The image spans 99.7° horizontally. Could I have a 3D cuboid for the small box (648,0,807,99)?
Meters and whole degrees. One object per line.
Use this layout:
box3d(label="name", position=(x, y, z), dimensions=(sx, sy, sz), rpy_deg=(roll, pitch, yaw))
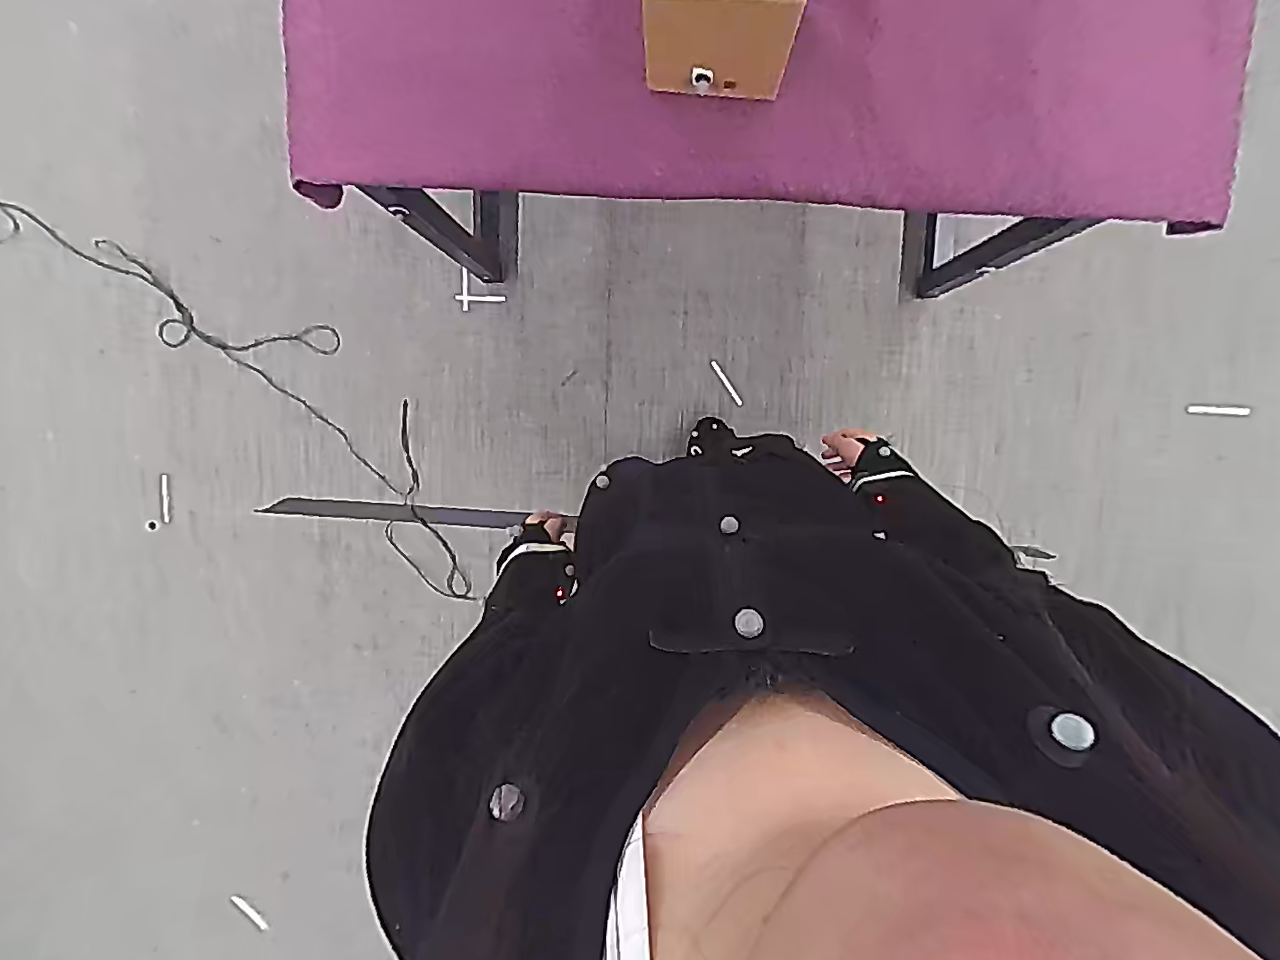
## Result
box3d(label="small box", position=(0.097, -0.573, 0.605), dimensions=(0.168, 0.176, 0.179), rpy_deg=(5, 97, 3))
